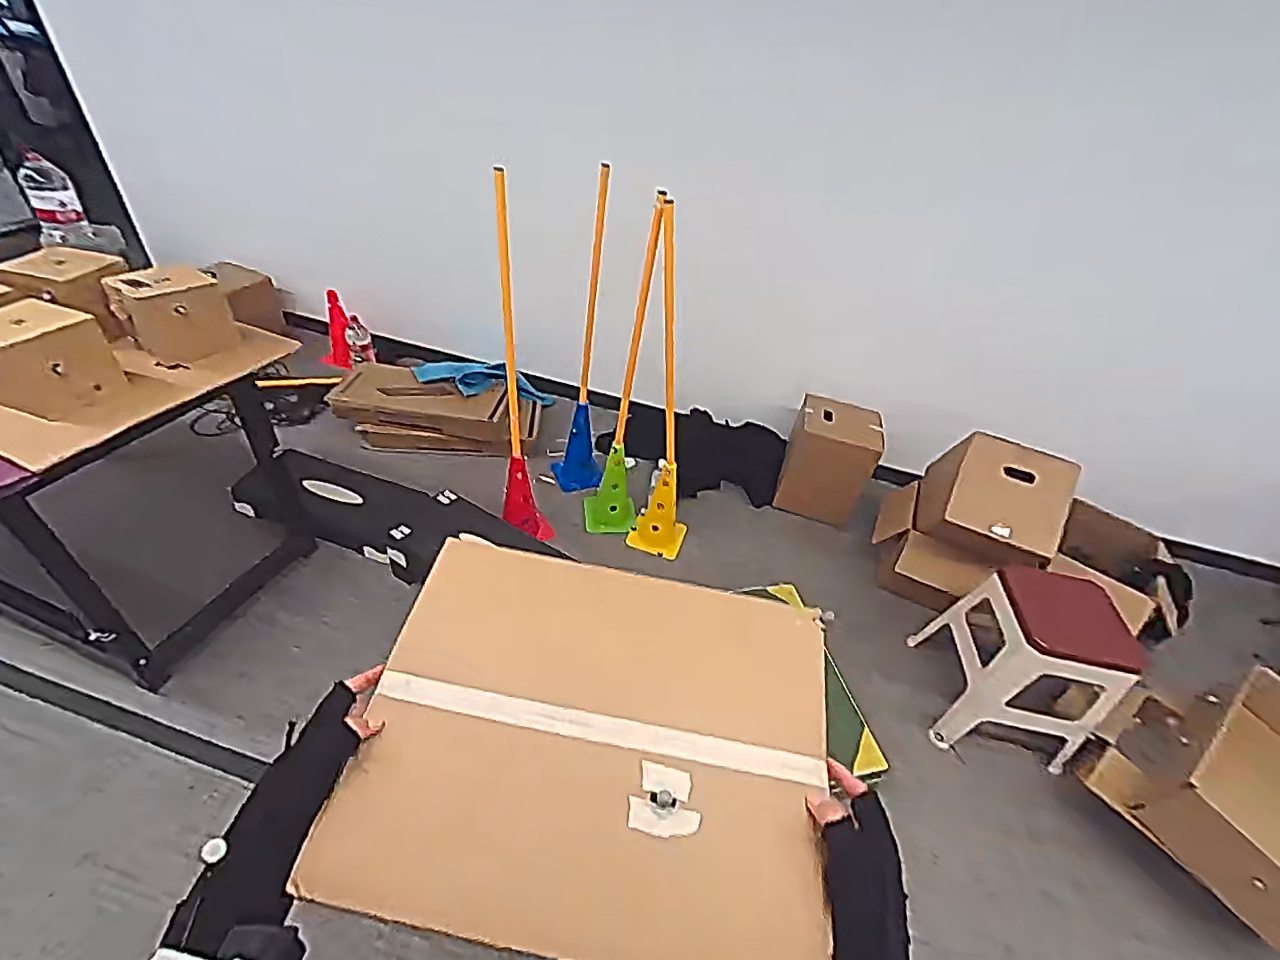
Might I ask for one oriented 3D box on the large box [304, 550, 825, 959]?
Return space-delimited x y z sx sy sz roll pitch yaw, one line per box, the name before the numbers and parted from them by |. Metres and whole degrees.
large box | -0.048 0.317 0.606 0.408 0.320 0.320 11 53 3
